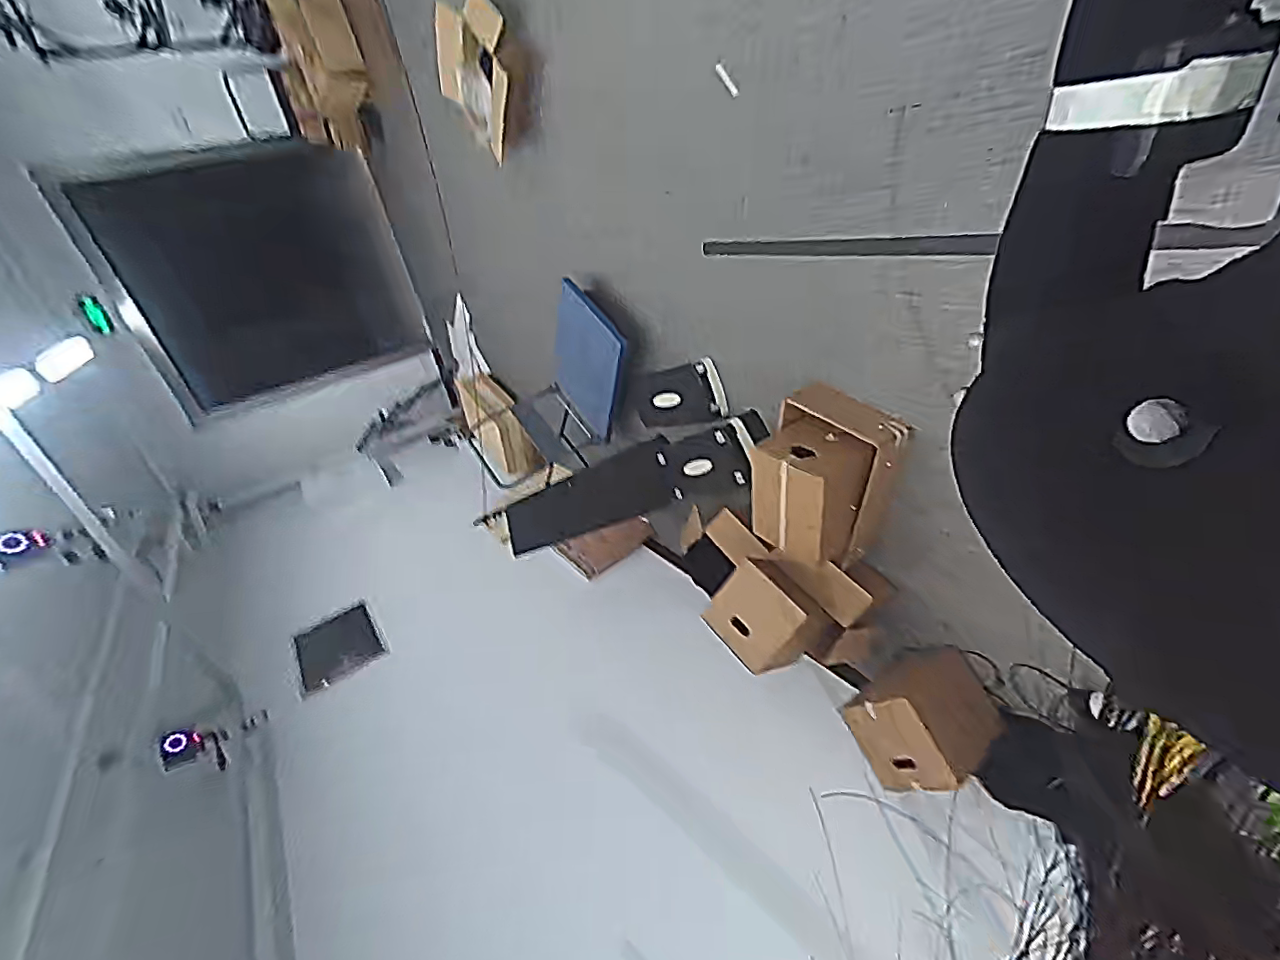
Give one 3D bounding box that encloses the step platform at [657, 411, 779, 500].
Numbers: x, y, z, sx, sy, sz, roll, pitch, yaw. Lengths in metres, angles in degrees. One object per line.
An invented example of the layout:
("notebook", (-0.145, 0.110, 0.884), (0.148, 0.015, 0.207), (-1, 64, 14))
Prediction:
("step platform", (0.344, -0.096, 2.591), (0.286, 0.204, 0.684), (63, 153, -3))
